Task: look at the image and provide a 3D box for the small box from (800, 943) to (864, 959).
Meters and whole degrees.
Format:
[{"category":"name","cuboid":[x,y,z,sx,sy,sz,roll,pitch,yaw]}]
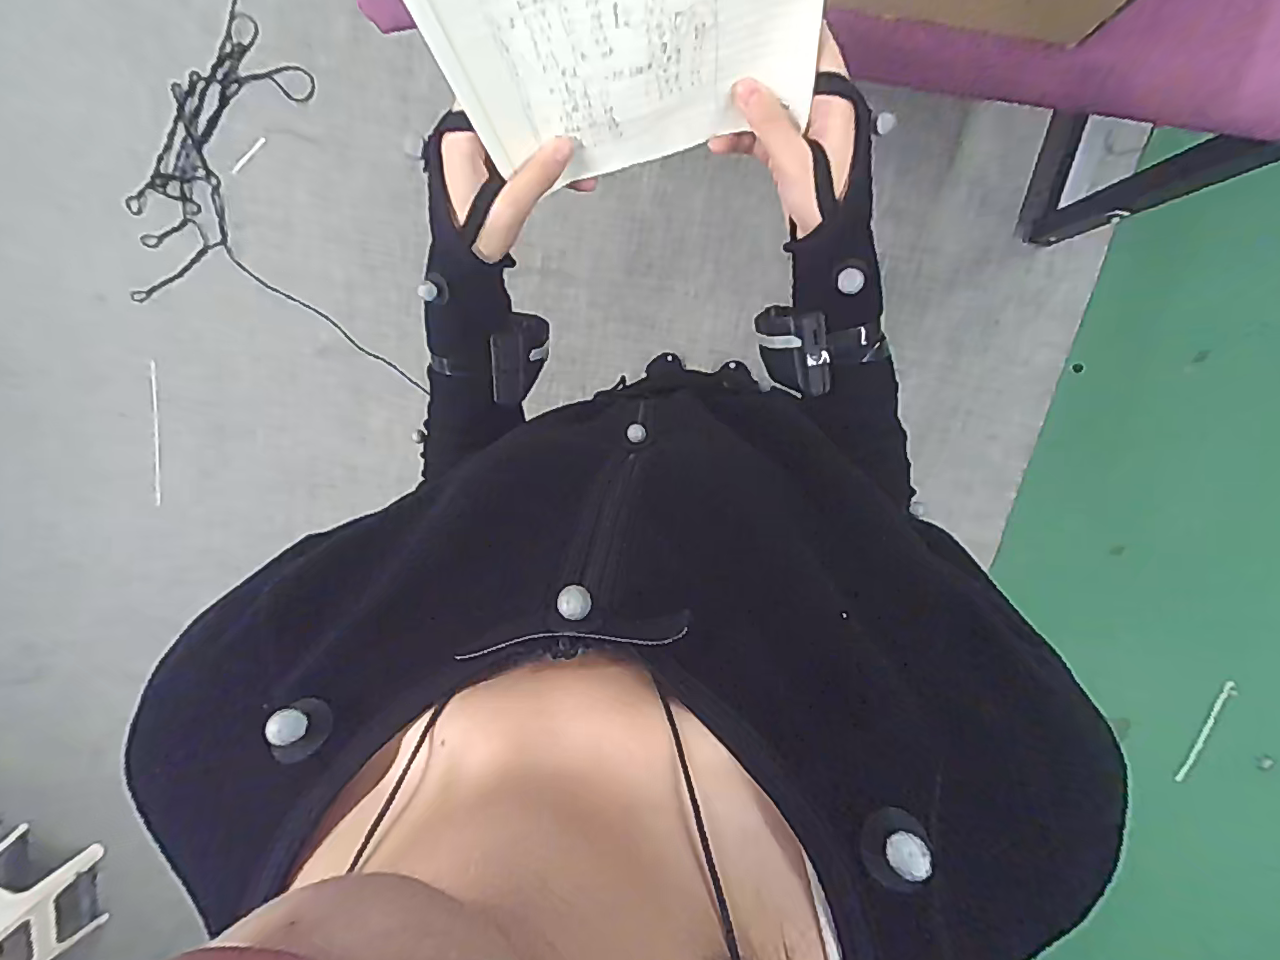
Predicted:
[{"category":"small box","cuboid":[0.481,1.286,1.317,0.168,0.176,0.179,4,102,8]}]
